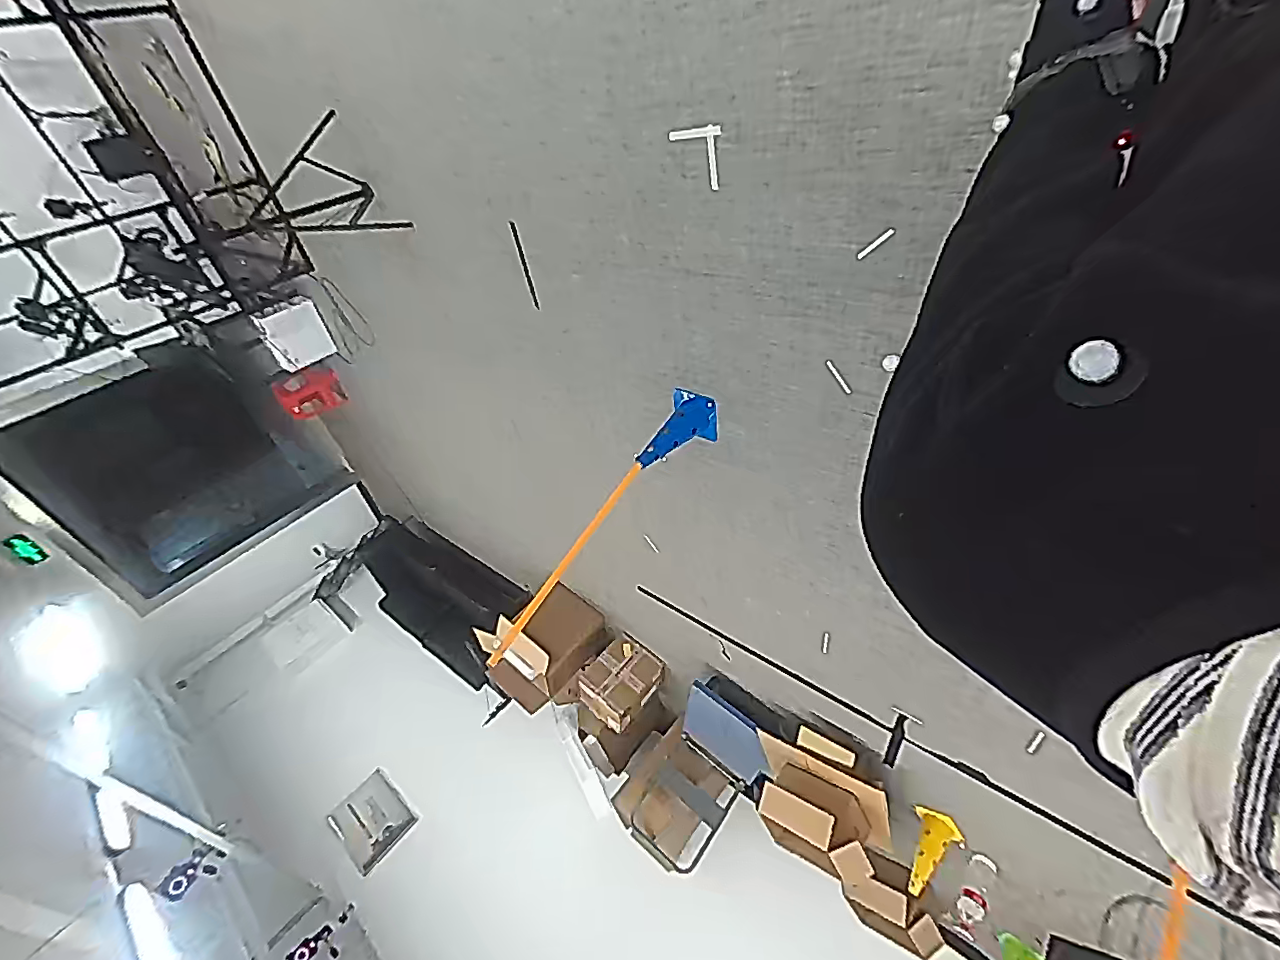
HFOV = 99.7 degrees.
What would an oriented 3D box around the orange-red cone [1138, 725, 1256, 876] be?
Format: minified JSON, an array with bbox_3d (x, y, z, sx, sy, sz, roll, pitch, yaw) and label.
[{"bbox_3d":[1.498,0.904,1.480,0.198,0.360,0.199,26,143,32],"label":"orange-red cone"}]

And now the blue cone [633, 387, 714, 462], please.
[{"bbox_3d":[0.106,-0.175,2.034,0.193,0.380,0.192,25,141,32],"label":"blue cone"}]
